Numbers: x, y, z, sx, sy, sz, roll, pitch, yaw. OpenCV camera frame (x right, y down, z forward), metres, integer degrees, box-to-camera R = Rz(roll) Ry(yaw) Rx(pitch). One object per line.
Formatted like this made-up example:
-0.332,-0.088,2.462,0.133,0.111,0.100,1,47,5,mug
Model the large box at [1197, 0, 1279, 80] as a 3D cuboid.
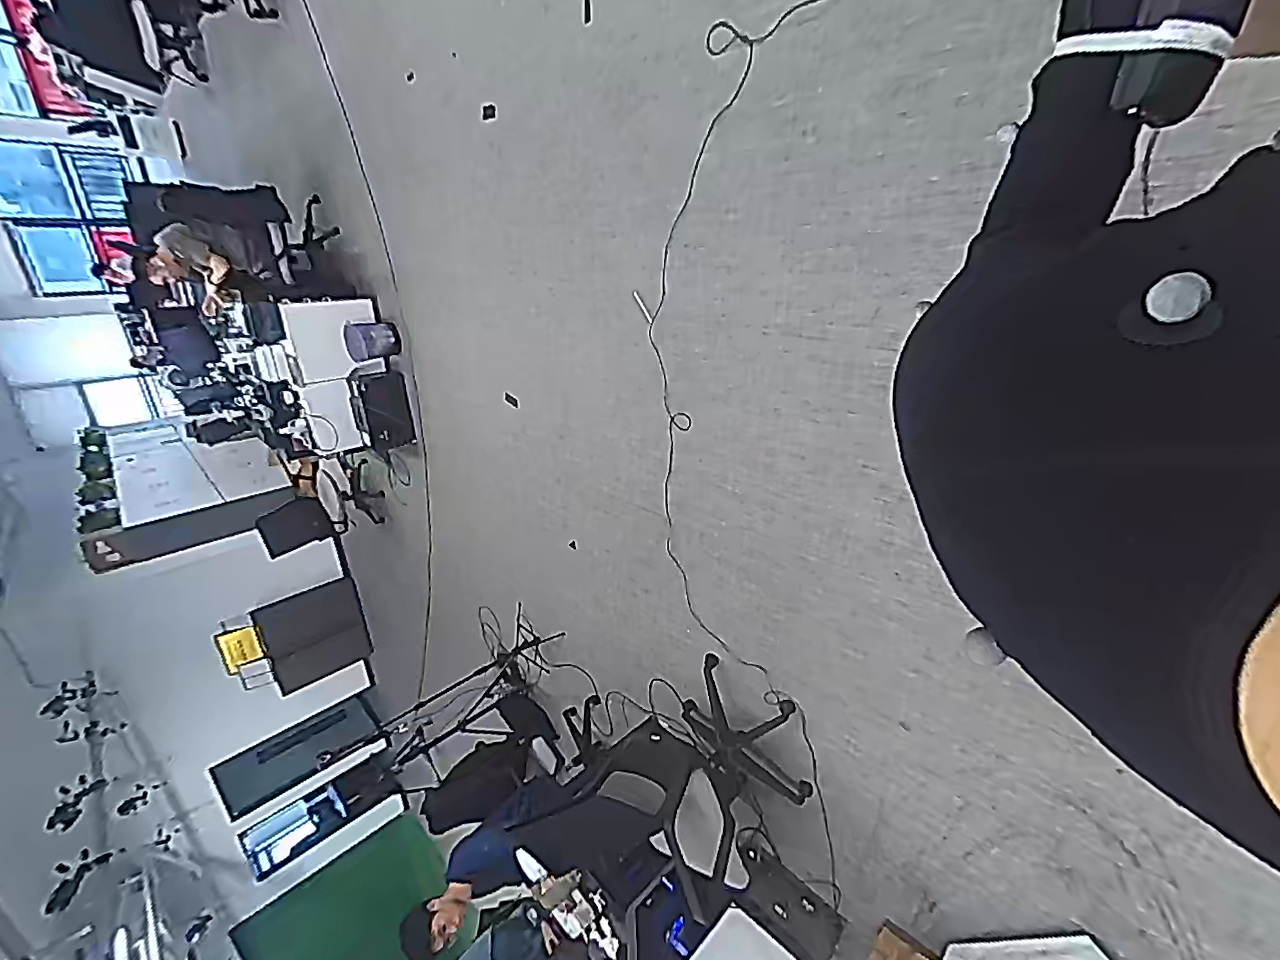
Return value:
0.577,-0.406,0.232,0.408,0.320,0.320,26,126,37,large box
